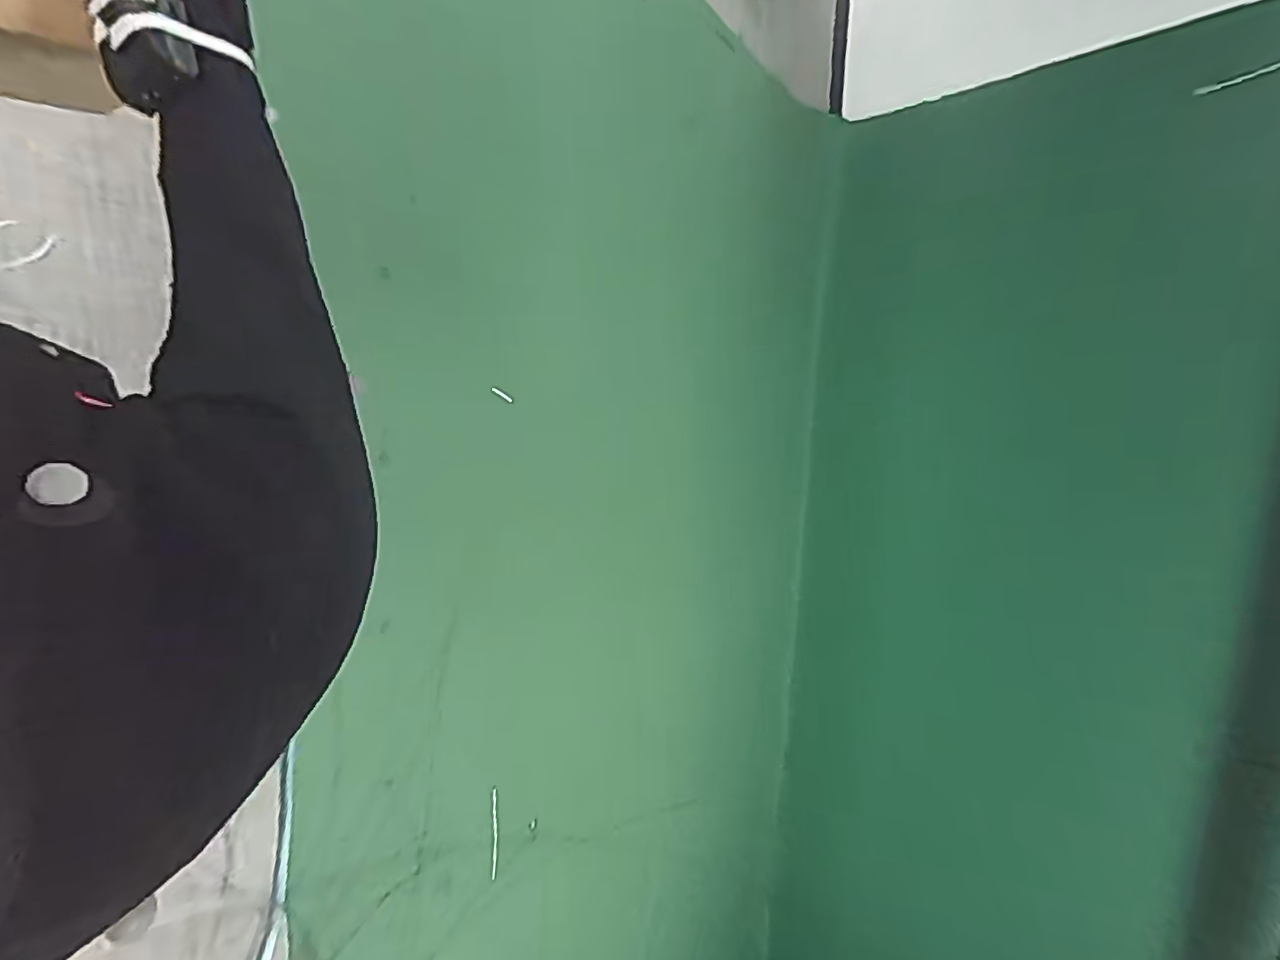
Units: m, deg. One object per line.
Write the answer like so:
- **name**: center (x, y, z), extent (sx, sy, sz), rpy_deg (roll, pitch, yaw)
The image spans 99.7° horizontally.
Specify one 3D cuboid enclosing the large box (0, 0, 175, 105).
- **large box**: center (-0.612, -0.475, 0.329), extent (0.408, 0.320, 0.320), rpy_deg (-21, 122, -47)
